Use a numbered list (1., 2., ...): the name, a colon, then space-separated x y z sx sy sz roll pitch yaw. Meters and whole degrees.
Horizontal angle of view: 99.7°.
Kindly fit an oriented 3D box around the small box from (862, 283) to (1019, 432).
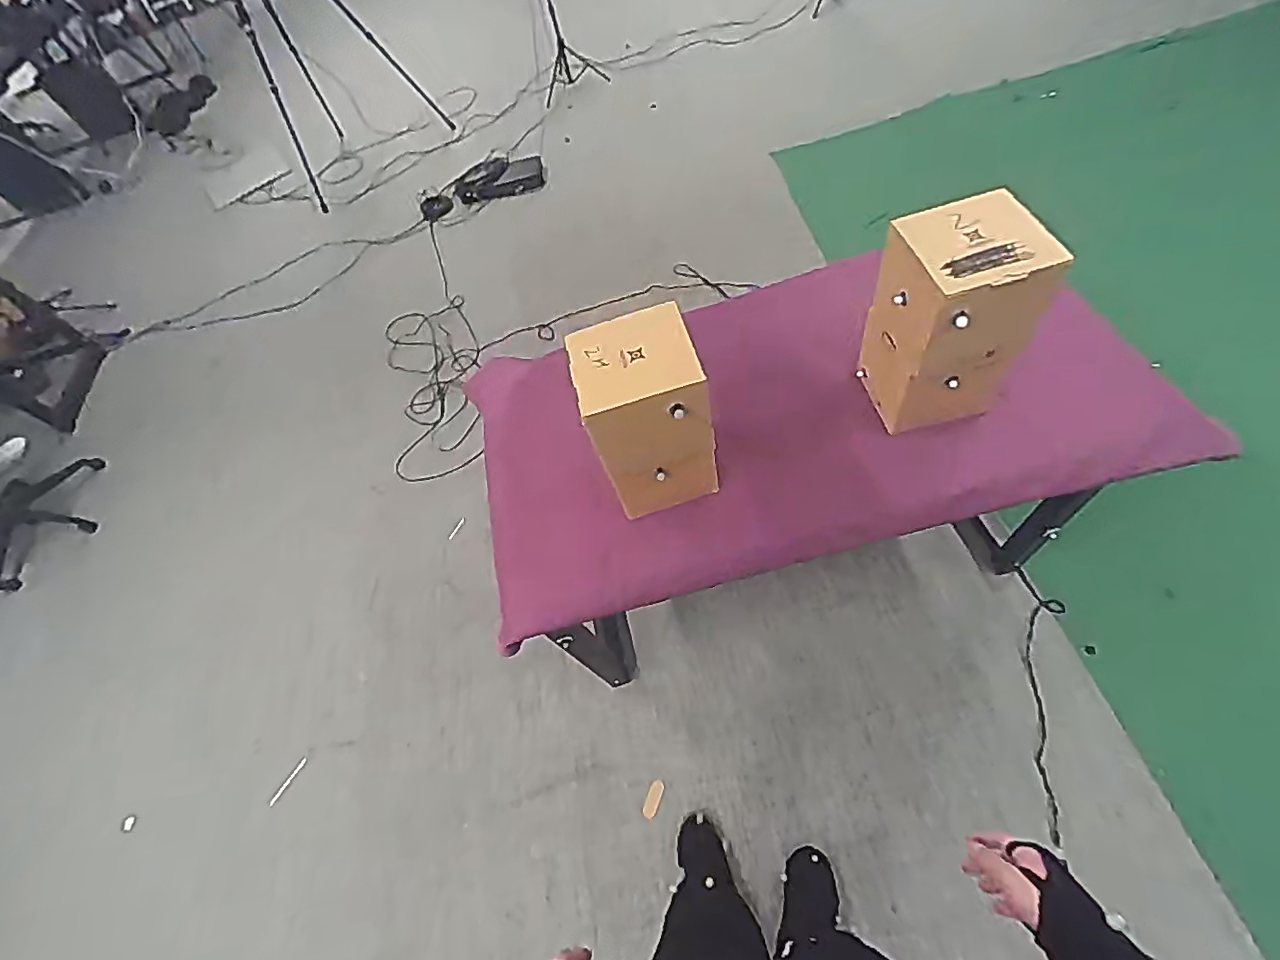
1. small box: 0.506 -0.206 0.948 0.179 0.176 0.168 -14 58 4

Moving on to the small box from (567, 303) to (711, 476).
1. small box: 0.005 -0.131 0.823 0.179 0.176 0.168 -16 57 3

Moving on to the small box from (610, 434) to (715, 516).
1. small box: 0.031 -0.059 0.971 0.179 0.176 0.168 -18 58 2
